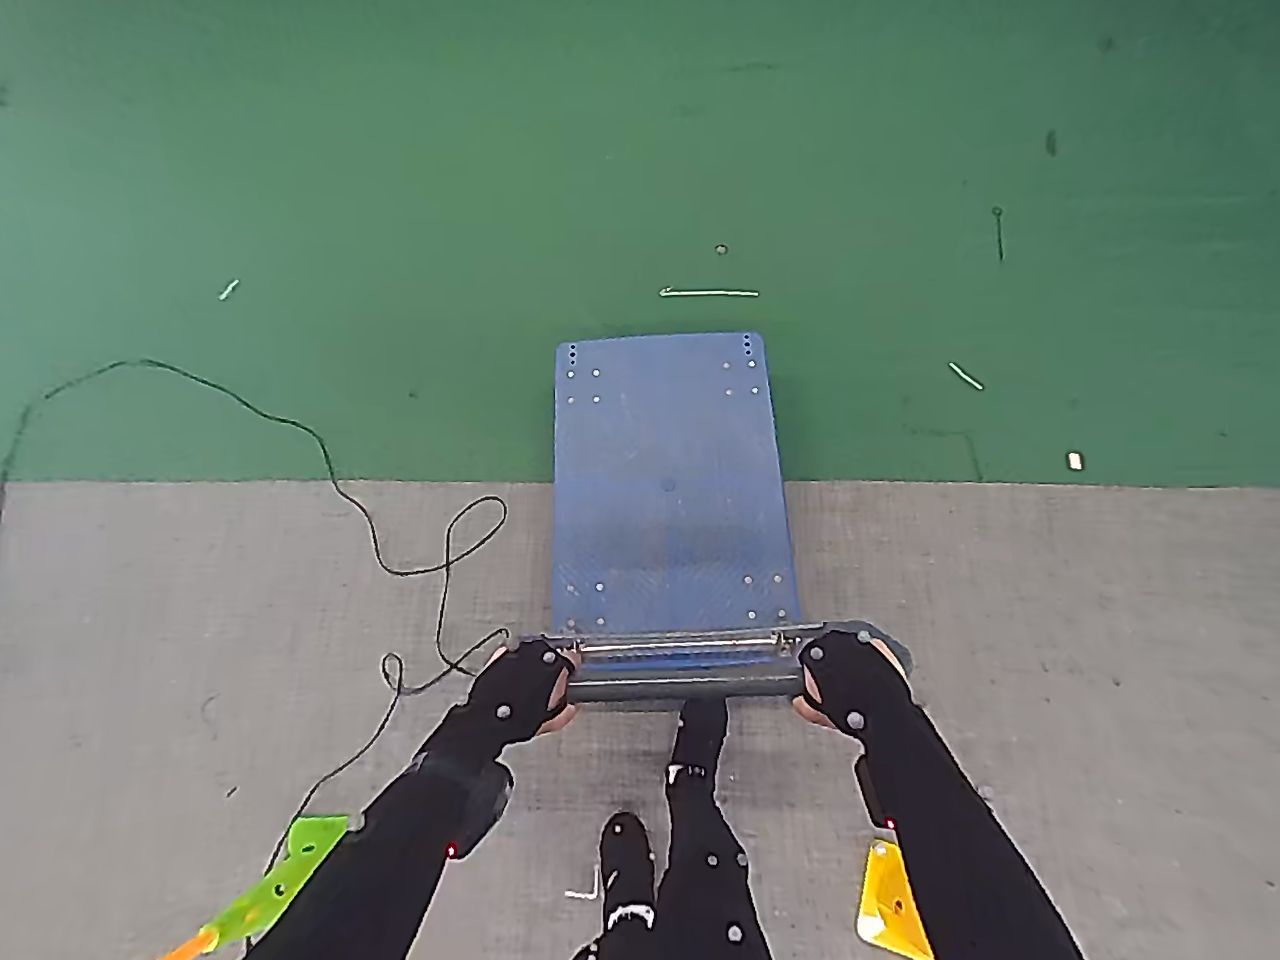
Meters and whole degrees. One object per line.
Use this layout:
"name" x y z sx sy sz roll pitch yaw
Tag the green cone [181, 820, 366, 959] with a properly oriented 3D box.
"green cone" -0.747 0.847 1.088 0.202 0.368 0.200 -4 70 3
